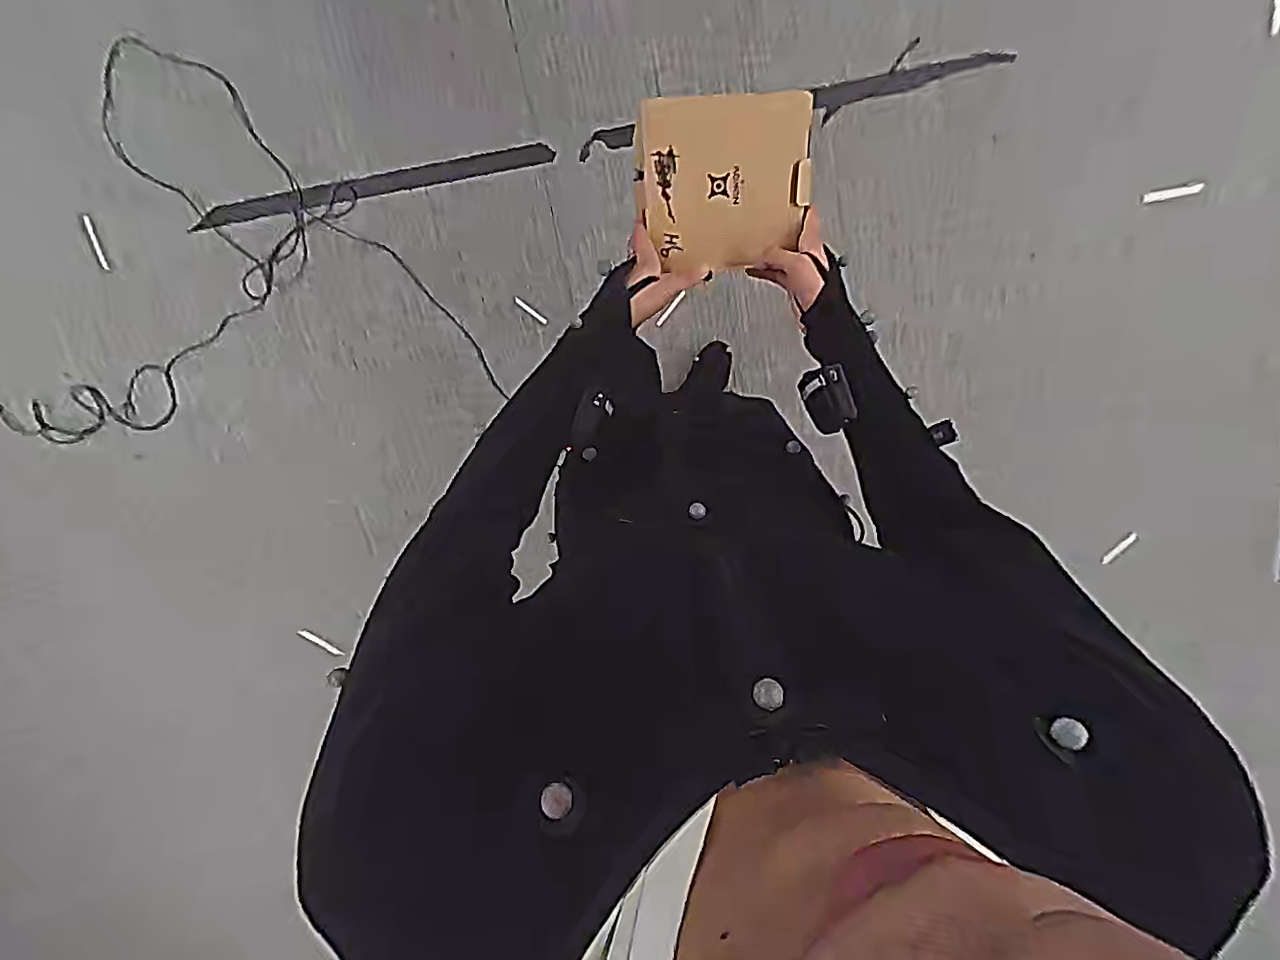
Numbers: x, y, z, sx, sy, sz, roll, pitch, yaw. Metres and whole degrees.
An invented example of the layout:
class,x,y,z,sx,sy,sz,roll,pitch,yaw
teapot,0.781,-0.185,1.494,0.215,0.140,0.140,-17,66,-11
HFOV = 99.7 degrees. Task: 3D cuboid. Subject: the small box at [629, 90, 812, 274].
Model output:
class,x,y,z,sx,sy,sz,roll,pitch,yaw
small box,0.082,-0.337,0.634,0.179,0.176,0.168,-5,113,-2
